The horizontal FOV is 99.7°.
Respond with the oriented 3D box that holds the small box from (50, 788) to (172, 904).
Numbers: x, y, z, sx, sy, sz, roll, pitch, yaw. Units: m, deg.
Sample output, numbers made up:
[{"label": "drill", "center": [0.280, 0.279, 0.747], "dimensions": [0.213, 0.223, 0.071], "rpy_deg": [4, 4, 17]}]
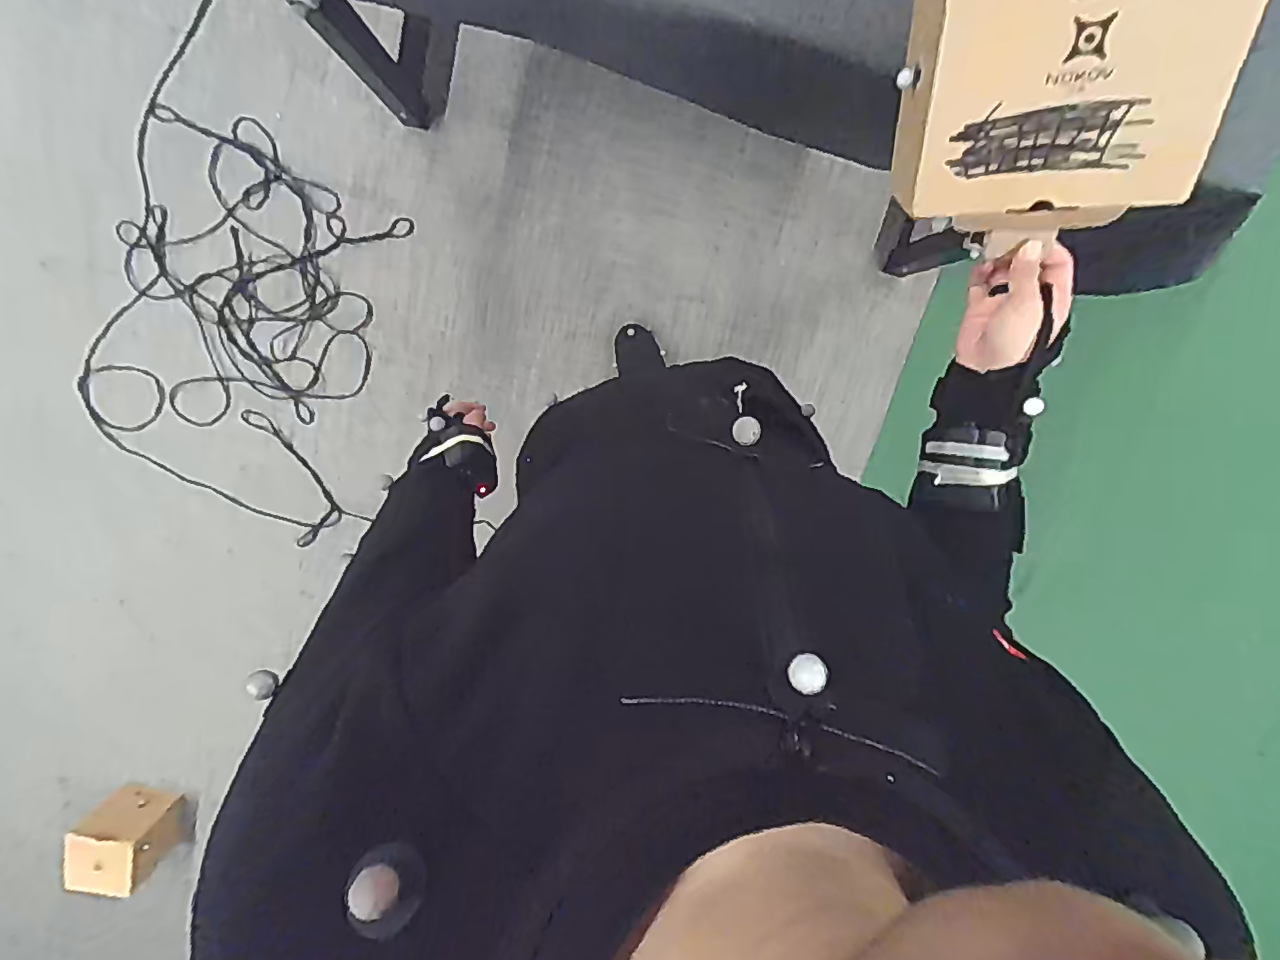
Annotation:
[{"label": "small box", "center": [-1.386, 0.960, 1.426], "dimensions": [0.168, 0.176, 0.179], "rpy_deg": [13, 101, -5]}]
